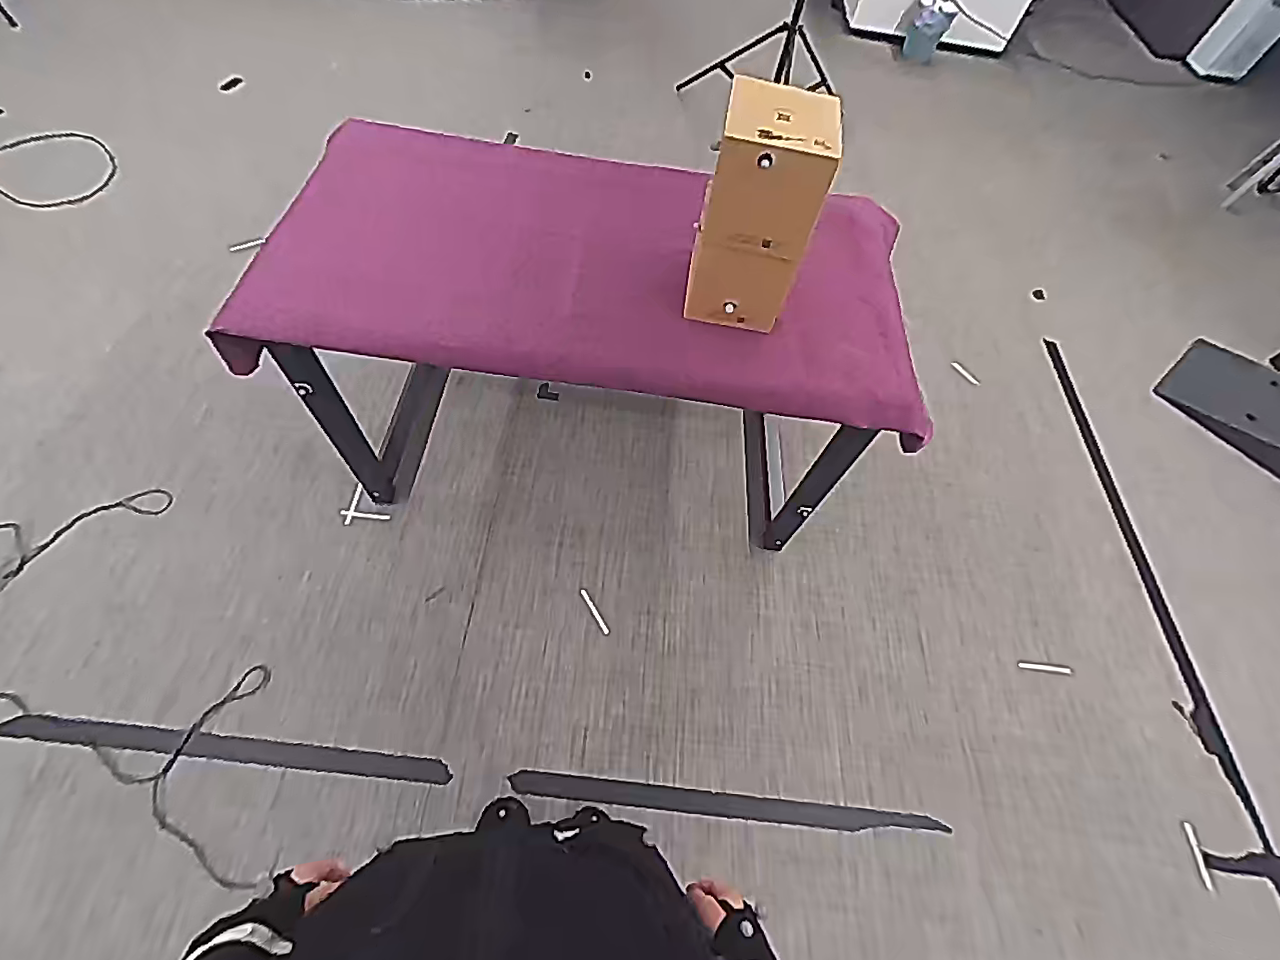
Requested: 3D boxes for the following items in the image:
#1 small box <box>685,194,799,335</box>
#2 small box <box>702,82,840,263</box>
[{"bbox_3d":[0.180,-0.396,0.986,0.168,0.176,0.179,9,60,-1],"label":"small box"},{"bbox_3d":[0.197,-0.474,0.843,0.168,0.176,0.179,11,59,0],"label":"small box"}]
